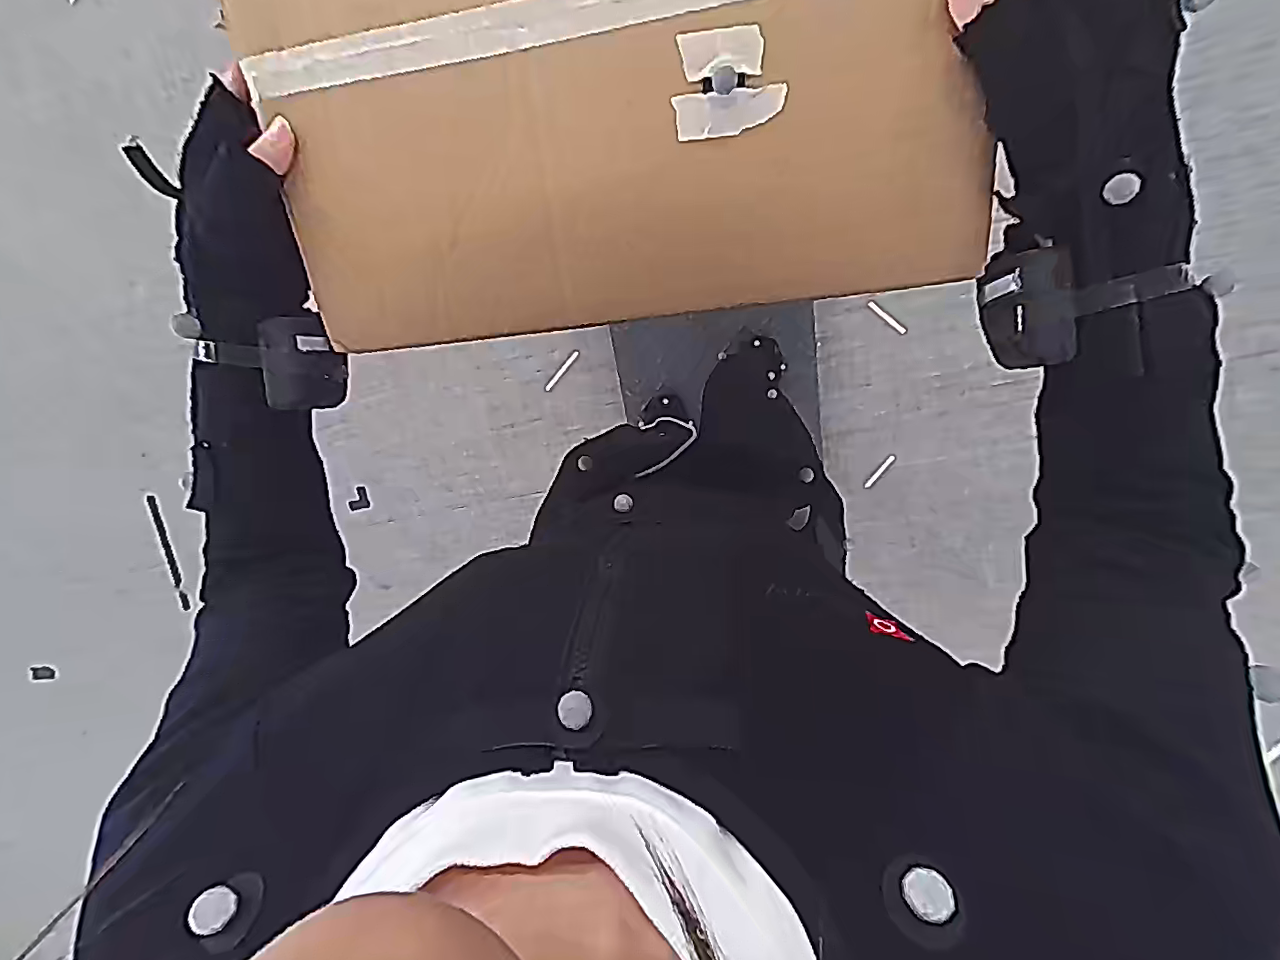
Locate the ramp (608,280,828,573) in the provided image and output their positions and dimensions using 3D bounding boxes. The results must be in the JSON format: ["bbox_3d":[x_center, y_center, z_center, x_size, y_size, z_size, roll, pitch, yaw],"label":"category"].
[{"bbox_3d":[0.204,-0.215,1.377,0.509,0.206,0.991,-9,101,8],"label":"ramp"}]

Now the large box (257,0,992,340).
[{"bbox_3d":[-0.006,-0.308,0.432,0.408,0.320,0.320,-5,111,8],"label":"large box"}]
